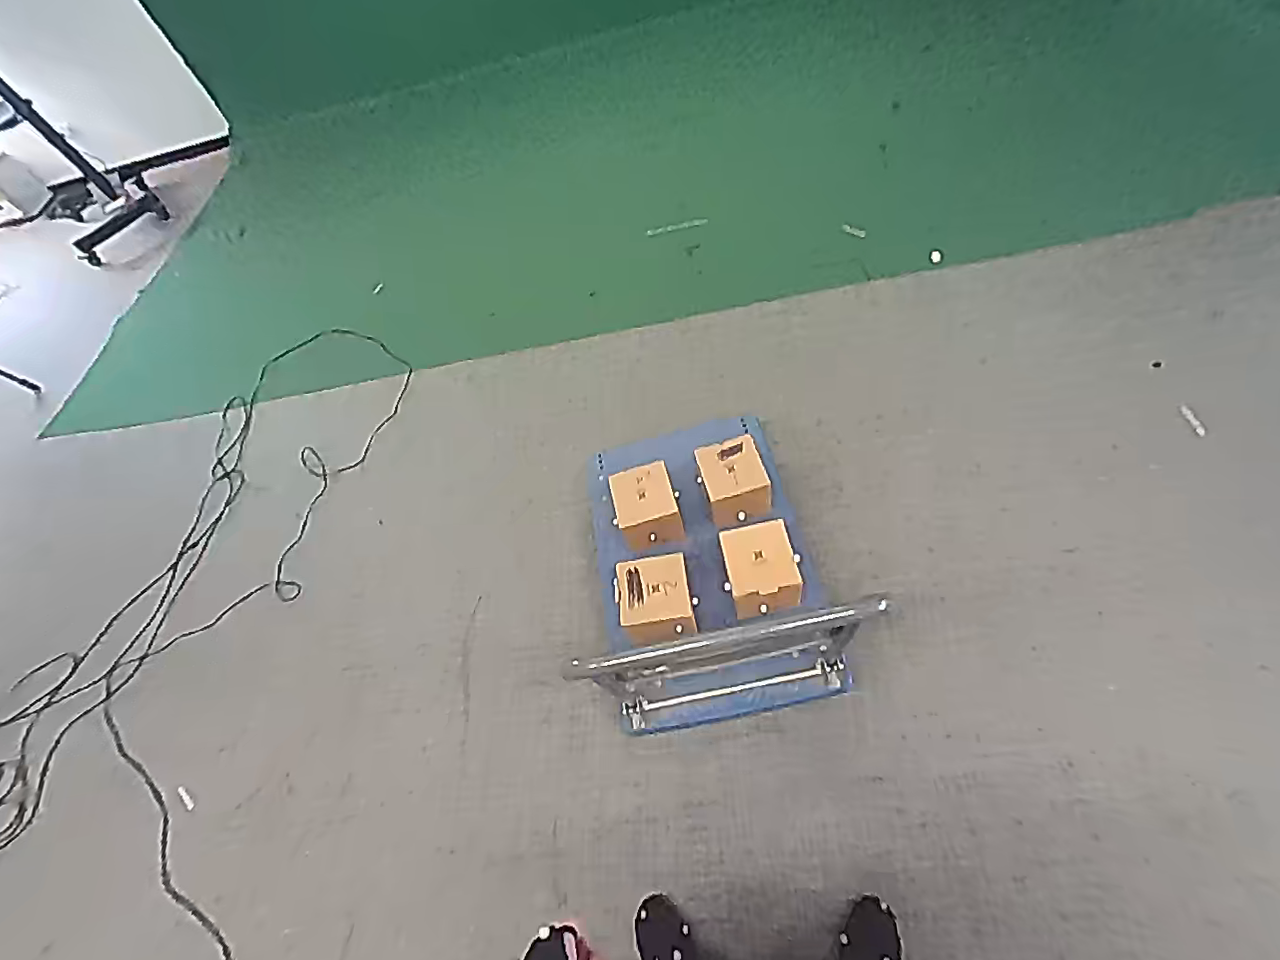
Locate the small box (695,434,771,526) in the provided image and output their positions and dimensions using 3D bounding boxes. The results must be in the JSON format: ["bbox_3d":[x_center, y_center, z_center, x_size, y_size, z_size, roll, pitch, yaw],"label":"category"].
[{"bbox_3d":[0.262,0.003,1.530,0.168,0.176,0.179,-17,58,3],"label":"small box"}]

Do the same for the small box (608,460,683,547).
[{"bbox_3d":[0.020,0.076,1.541,0.168,0.176,0.179,-16,57,2],"label":"small box"}]

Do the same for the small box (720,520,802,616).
[{"bbox_3d":[0.304,0.228,1.384,0.168,0.176,0.179,-12,58,5],"label":"small box"}]
